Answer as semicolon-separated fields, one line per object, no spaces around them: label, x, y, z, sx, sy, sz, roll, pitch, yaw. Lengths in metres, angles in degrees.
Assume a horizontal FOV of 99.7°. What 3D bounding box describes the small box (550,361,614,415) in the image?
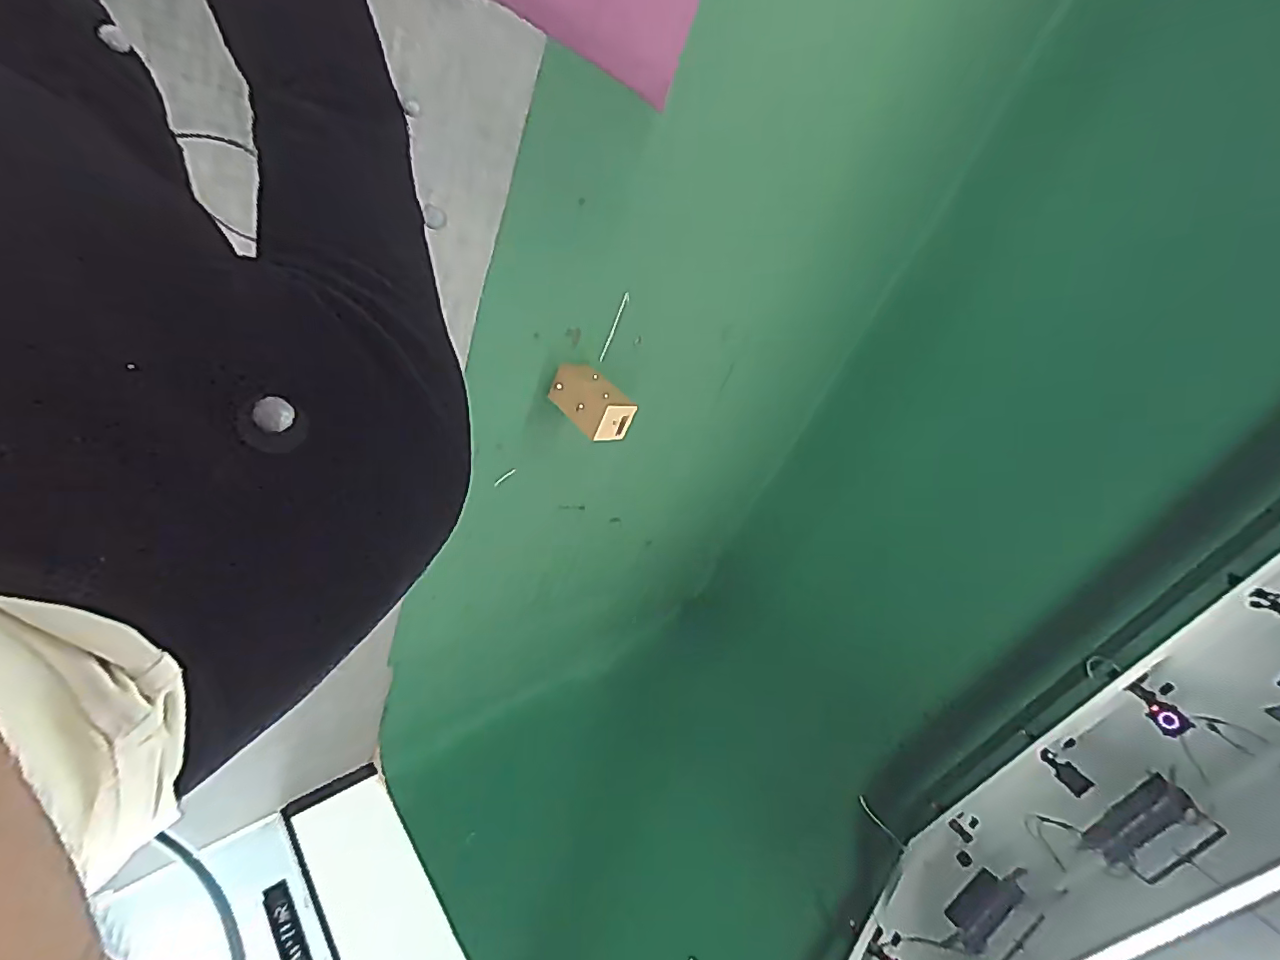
small box;-0.251;-0.392;2.296;0.179;0.176;0.168;-7;133;-48
